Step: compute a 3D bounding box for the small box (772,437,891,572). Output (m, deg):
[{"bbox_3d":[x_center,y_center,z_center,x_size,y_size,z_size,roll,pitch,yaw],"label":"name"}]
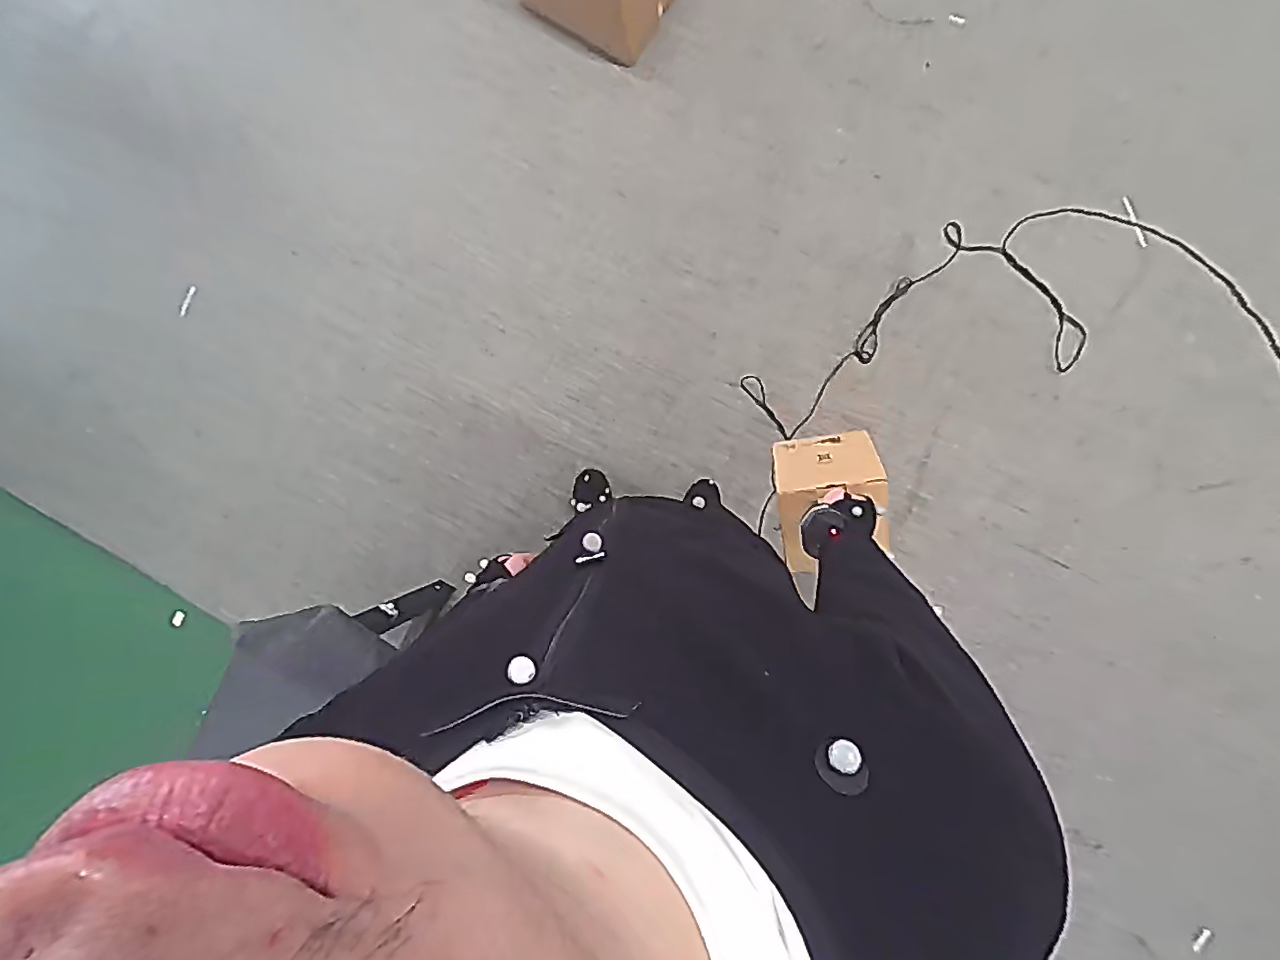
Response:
[{"bbox_3d":[0.329,0.048,0.942,0.168,0.179,0.176,-9,117,14],"label":"small box"}]
